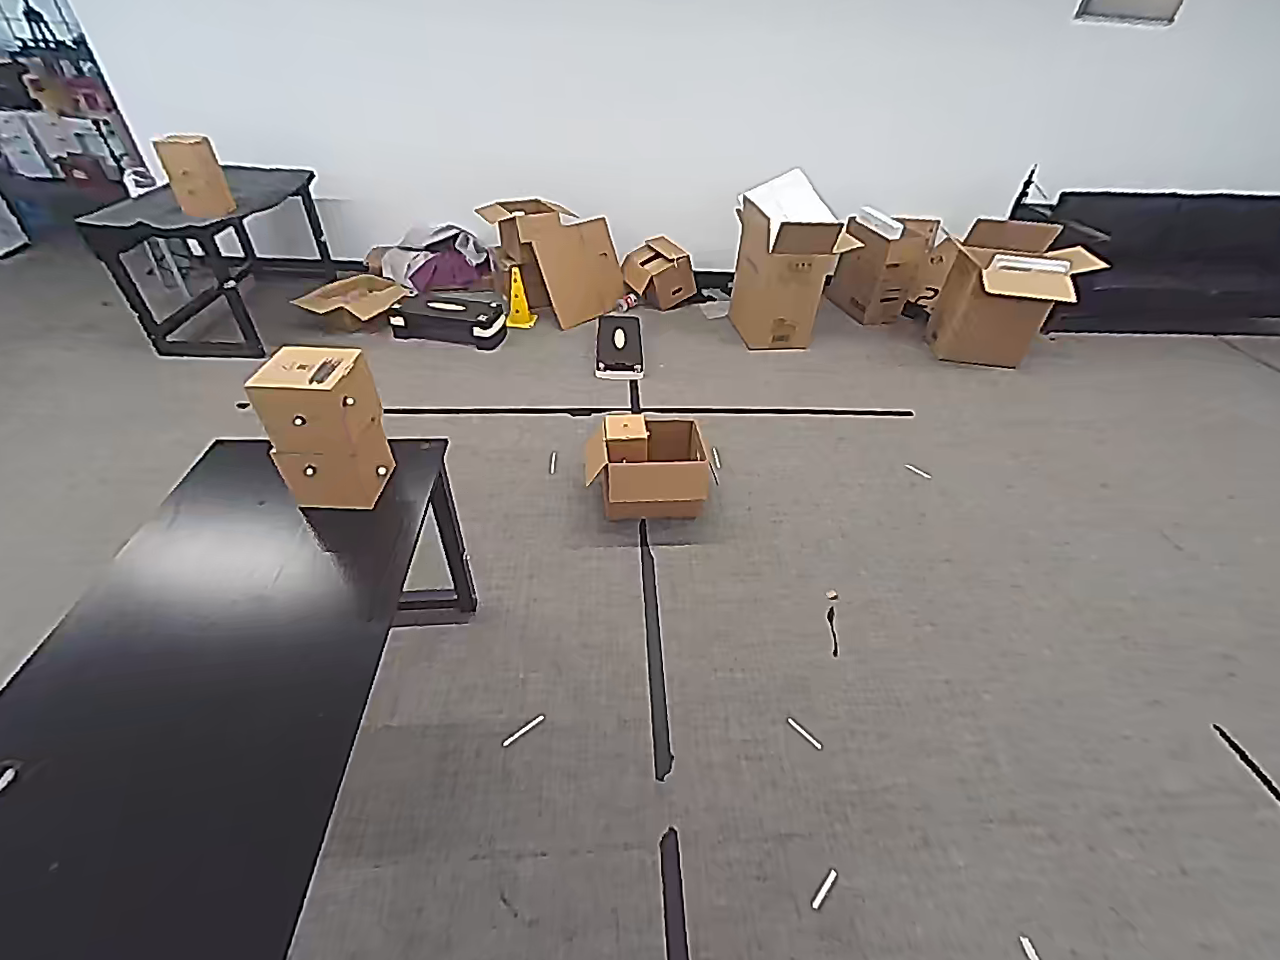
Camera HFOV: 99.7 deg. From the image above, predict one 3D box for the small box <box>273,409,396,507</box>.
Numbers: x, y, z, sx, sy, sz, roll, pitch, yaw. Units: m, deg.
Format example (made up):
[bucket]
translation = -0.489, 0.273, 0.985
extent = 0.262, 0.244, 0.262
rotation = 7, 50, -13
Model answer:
[small box]
translation = -0.706, -0.050, 1.276
extent = 0.179, 0.176, 0.168
rotation = 3, 42, -1
